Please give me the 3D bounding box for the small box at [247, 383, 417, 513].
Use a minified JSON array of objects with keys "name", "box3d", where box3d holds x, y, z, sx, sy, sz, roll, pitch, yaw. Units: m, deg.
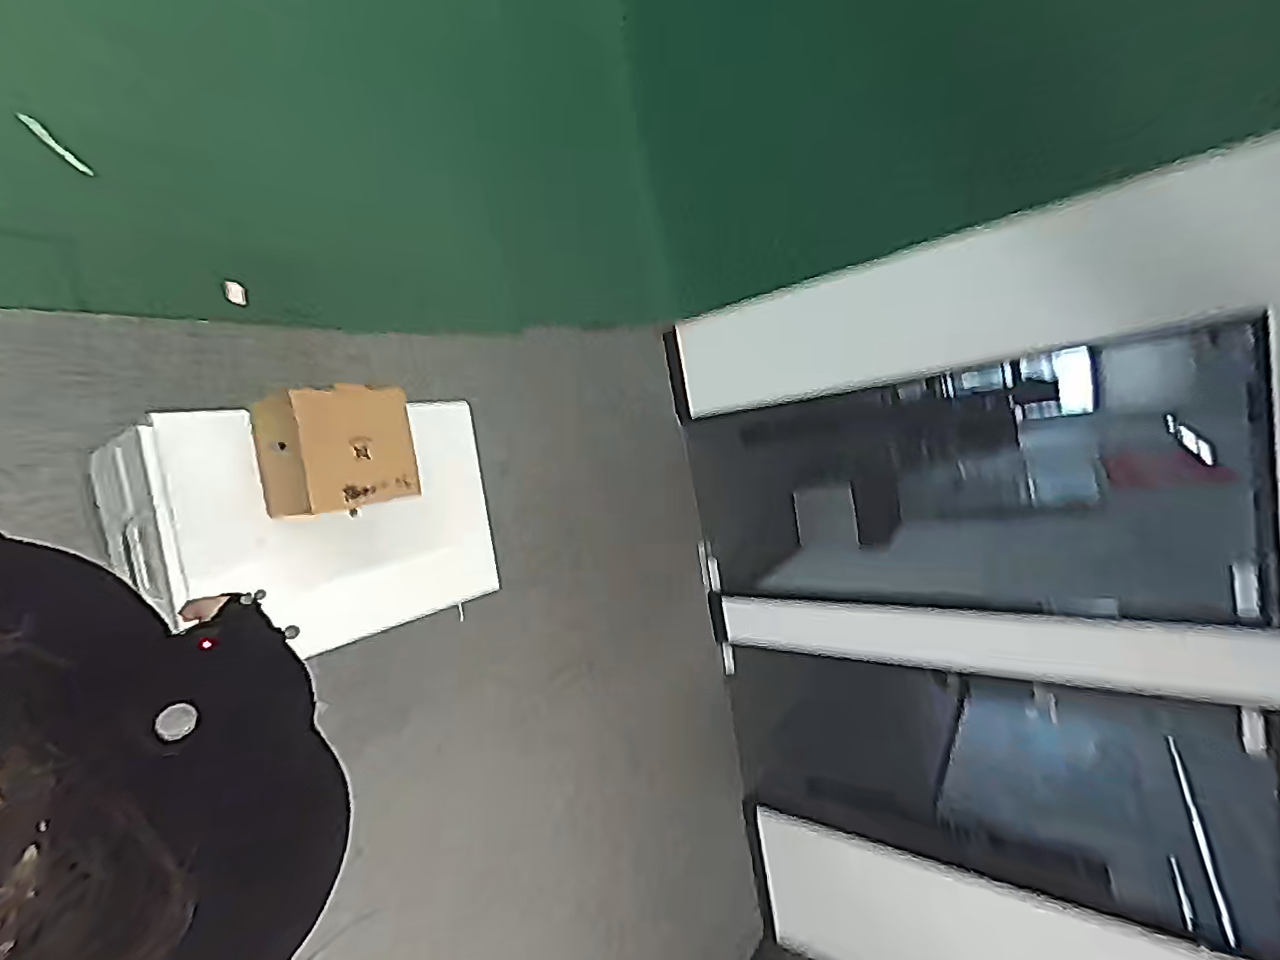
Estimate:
[{"name":"small box","box3d":[-0.479,-0.049,0.840,0.168,0.176,0.179,-13,97,-52]}]
